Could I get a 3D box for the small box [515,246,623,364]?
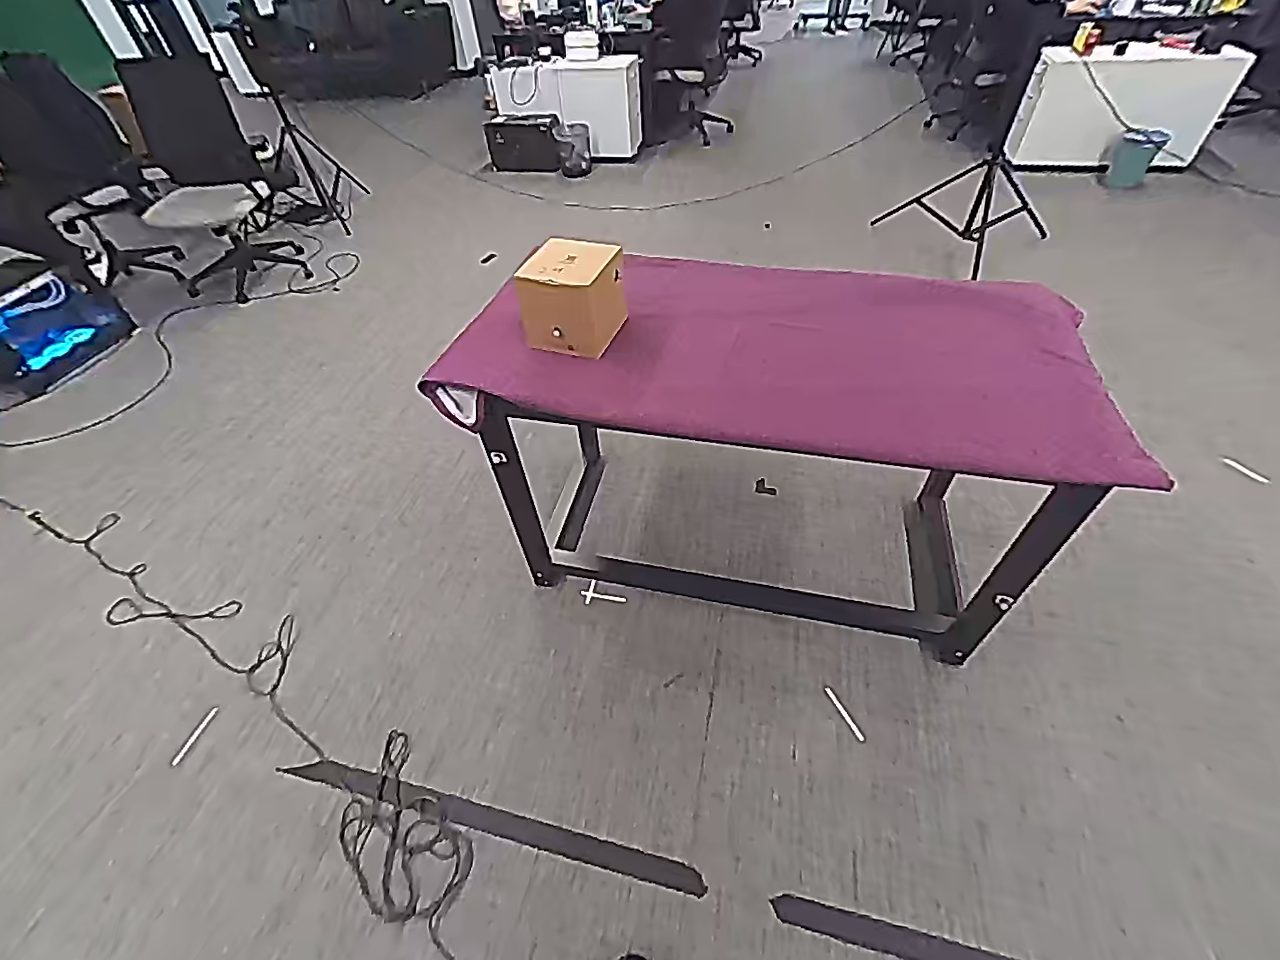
[{"bbox_3d":[-0.141,-0.375,1.157,0.168,0.176,0.179,13,50,16],"label":"small box"}]
